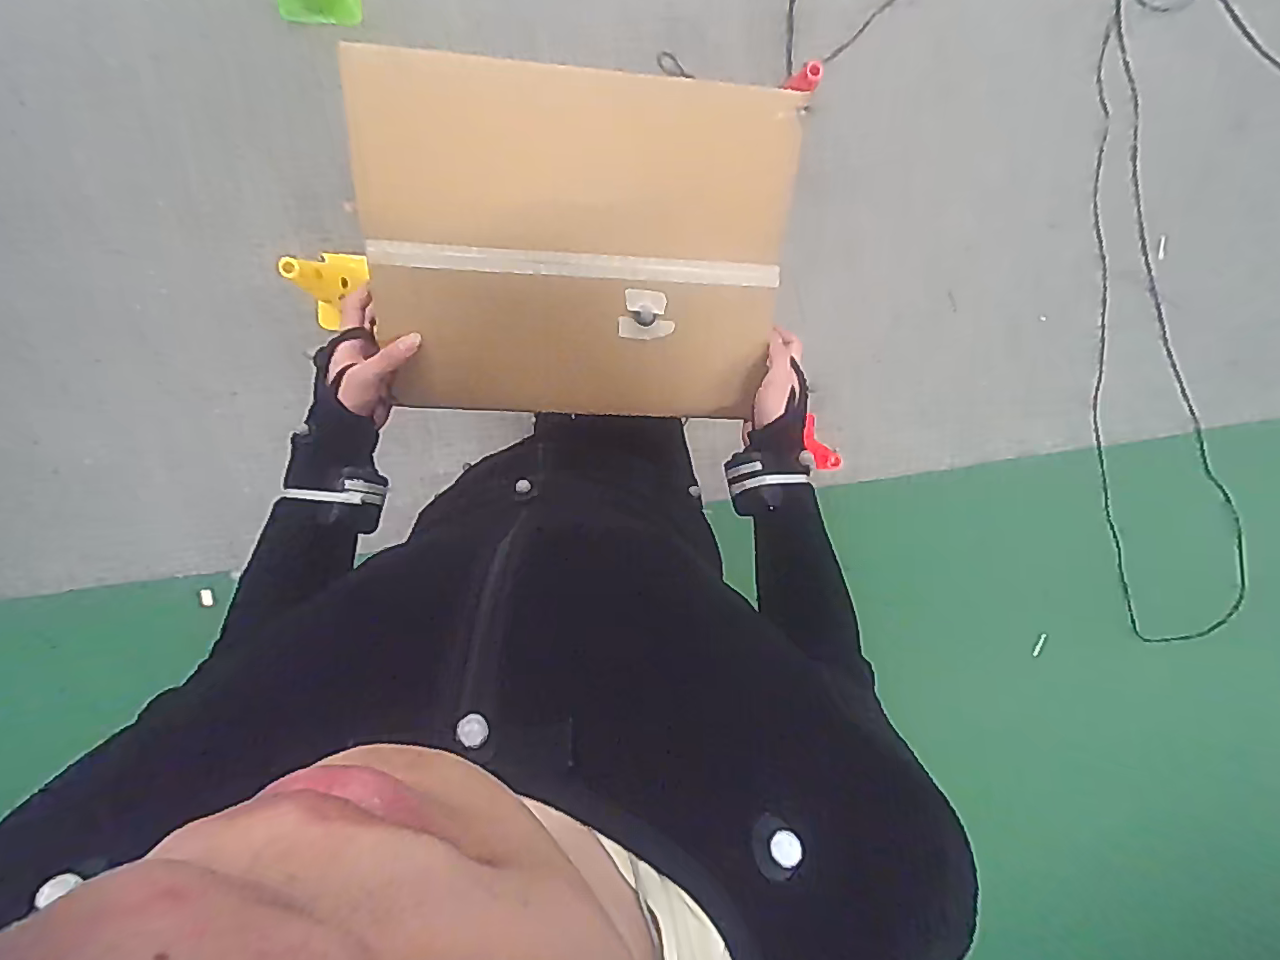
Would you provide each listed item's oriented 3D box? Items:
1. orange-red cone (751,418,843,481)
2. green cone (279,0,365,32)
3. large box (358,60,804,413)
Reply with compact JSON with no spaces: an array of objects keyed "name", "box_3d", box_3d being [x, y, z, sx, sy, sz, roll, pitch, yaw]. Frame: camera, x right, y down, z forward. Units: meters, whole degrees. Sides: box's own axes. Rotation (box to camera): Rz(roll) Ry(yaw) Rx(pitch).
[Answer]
[{"name":"orange-red cone","box_3d":[0.467,-0.062,1.512,0.199,0.360,0.198,-1,101,-8]},{"name":"green cone","box_3d":[-0.781,-1.201,1.177,0.200,0.368,0.202,-2,101,-6]},{"name":"large box","box_3d":[-0.068,-0.279,0.675,0.408,0.320,0.320,1,117,-7]}]
